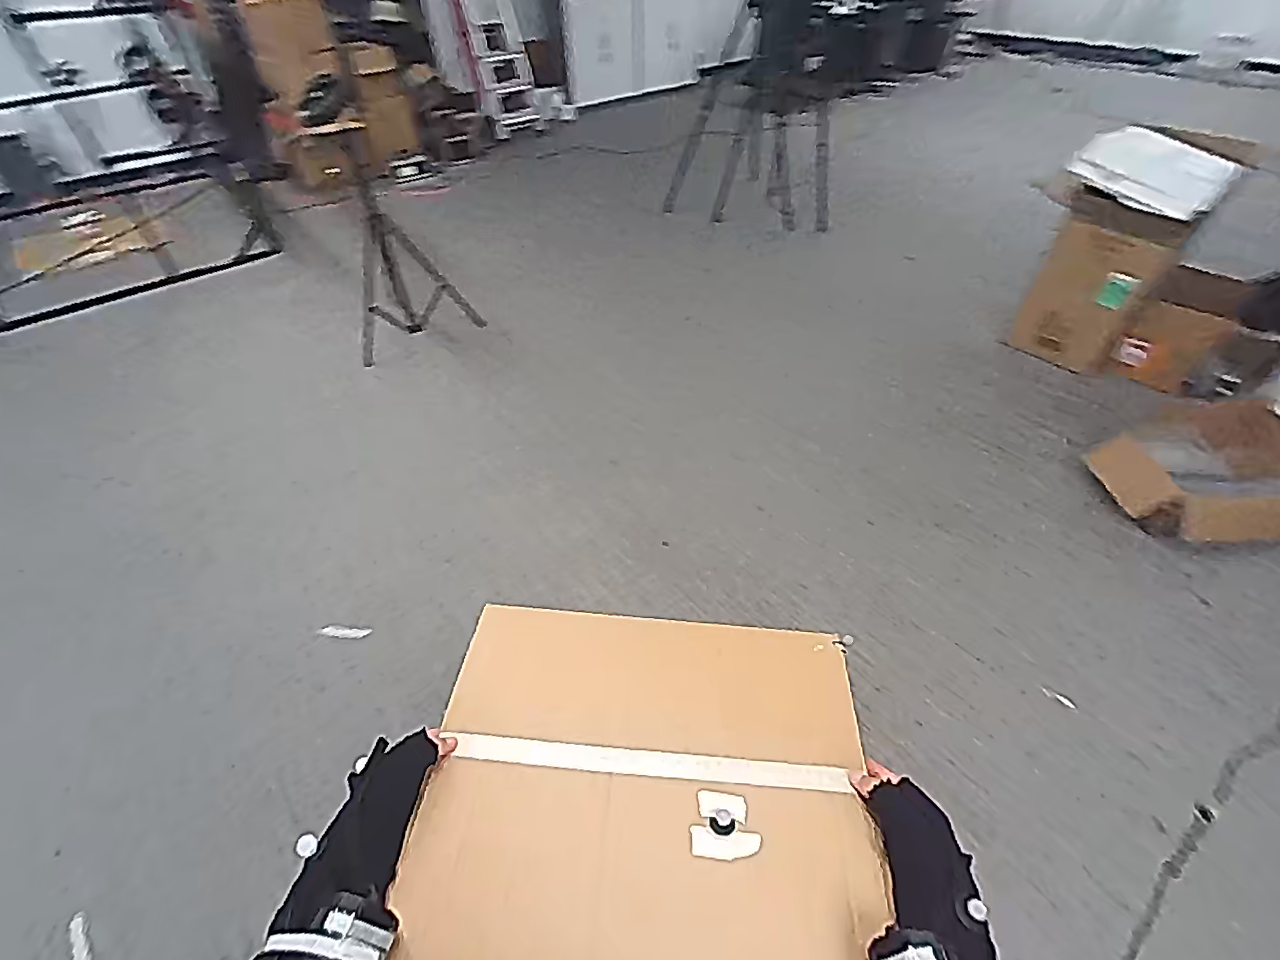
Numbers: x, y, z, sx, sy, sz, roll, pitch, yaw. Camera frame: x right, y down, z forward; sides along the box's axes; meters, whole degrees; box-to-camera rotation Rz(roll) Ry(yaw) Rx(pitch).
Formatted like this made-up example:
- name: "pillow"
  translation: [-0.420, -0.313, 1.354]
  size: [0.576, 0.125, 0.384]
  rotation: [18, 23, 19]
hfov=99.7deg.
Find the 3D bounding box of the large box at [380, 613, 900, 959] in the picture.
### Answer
- name: "large box"
  translation: [0.002, 0.378, 0.610]
  size: [0.408, 0.320, 0.320]
  rotation: [4, 43, 2]
